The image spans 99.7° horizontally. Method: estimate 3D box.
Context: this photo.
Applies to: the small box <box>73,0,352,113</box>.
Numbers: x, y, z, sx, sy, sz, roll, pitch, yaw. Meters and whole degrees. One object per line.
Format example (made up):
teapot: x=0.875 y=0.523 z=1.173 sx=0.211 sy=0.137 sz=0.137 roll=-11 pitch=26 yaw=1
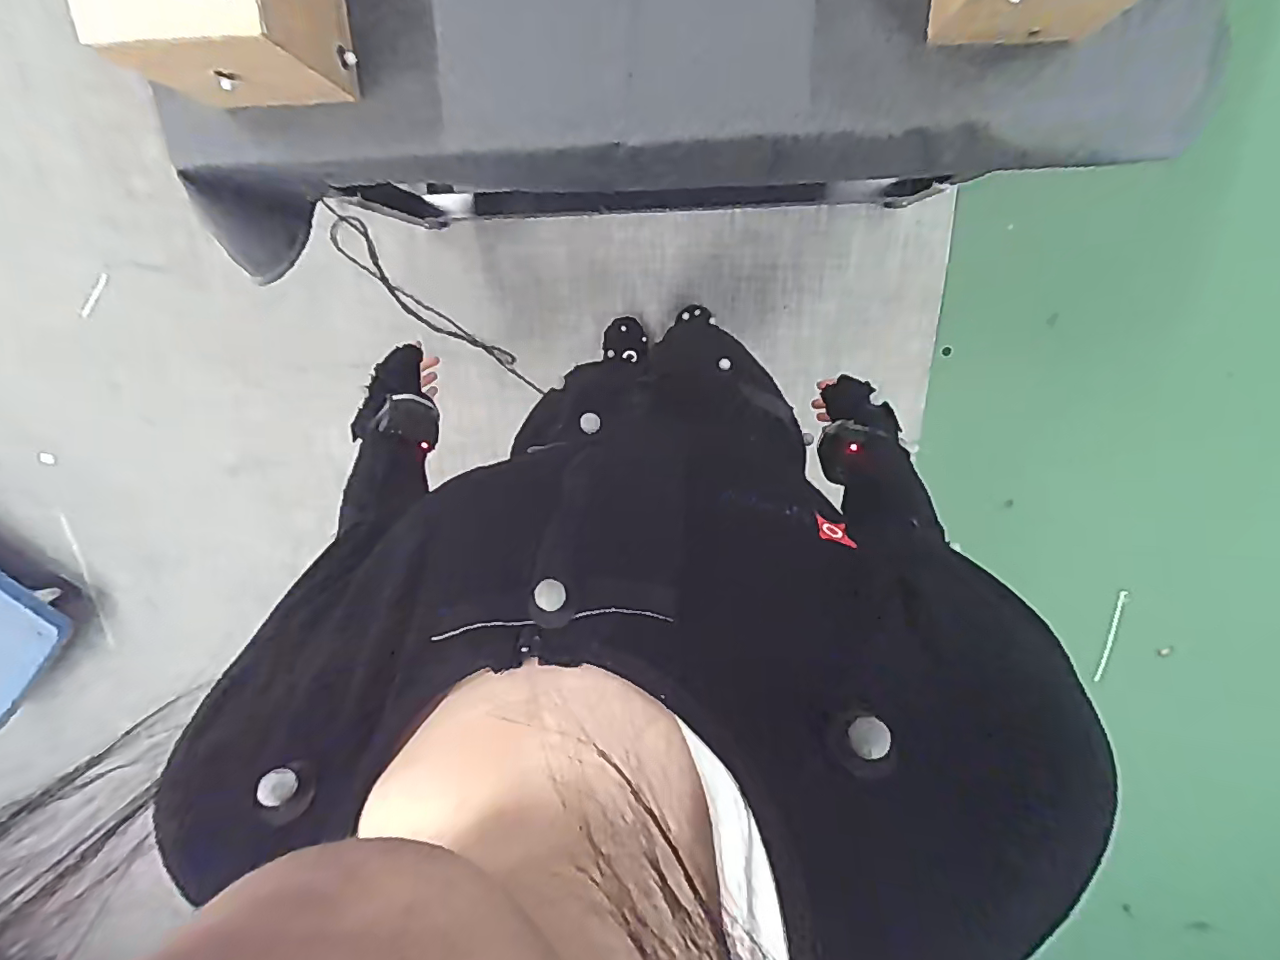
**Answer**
small box: x=-0.418 y=-0.492 z=0.543 sx=0.179 sy=0.176 sz=0.168 roll=-1 pitch=107 yaw=2
